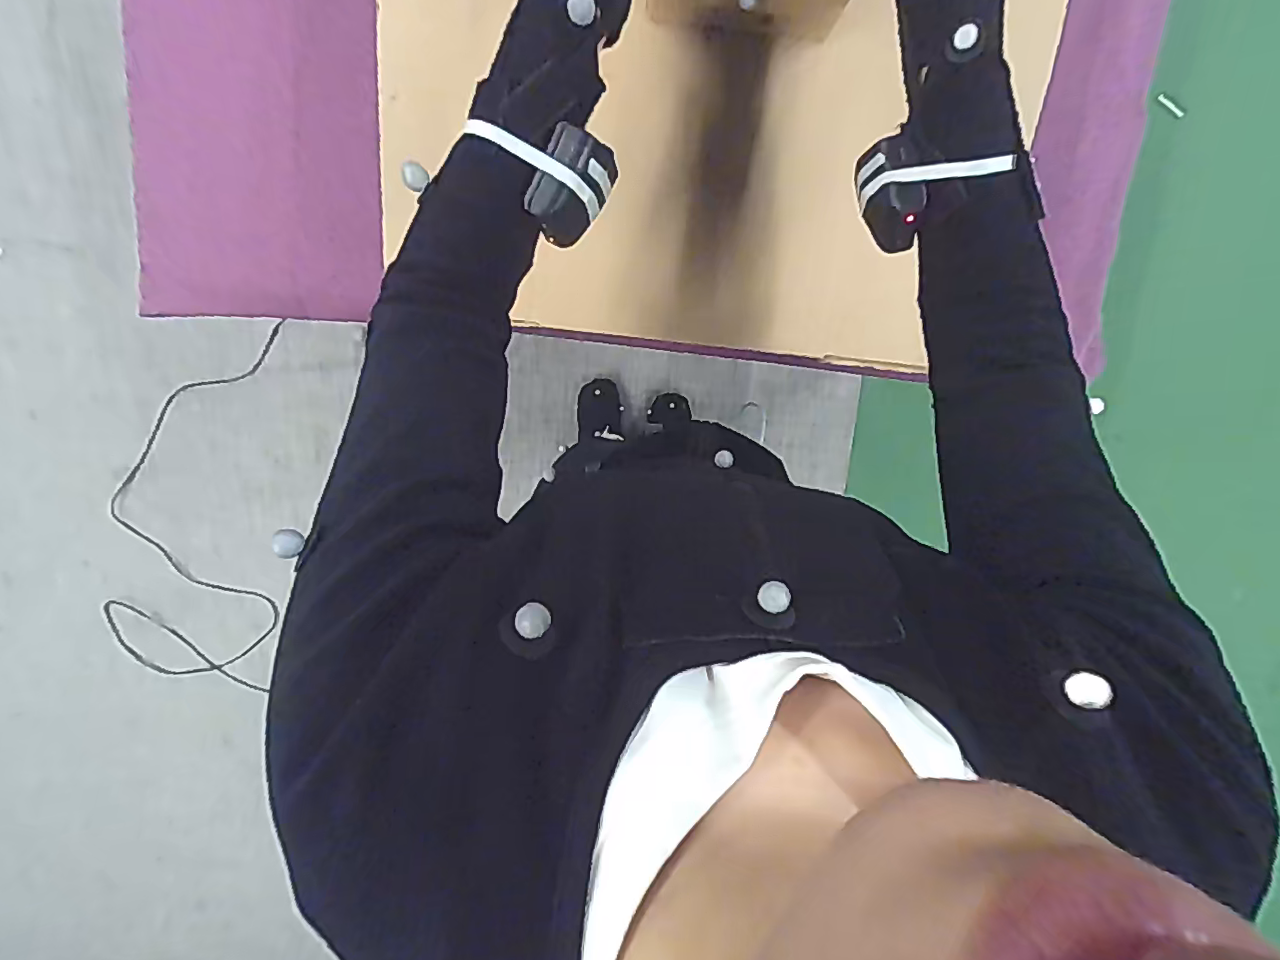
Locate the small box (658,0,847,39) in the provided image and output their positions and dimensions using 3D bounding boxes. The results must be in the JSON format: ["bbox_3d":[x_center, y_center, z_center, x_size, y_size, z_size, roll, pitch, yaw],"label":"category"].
[{"bbox_3d":[0.099,-0.470,0.382,0.168,0.176,0.179,5,100,-3],"label":"small box"}]
